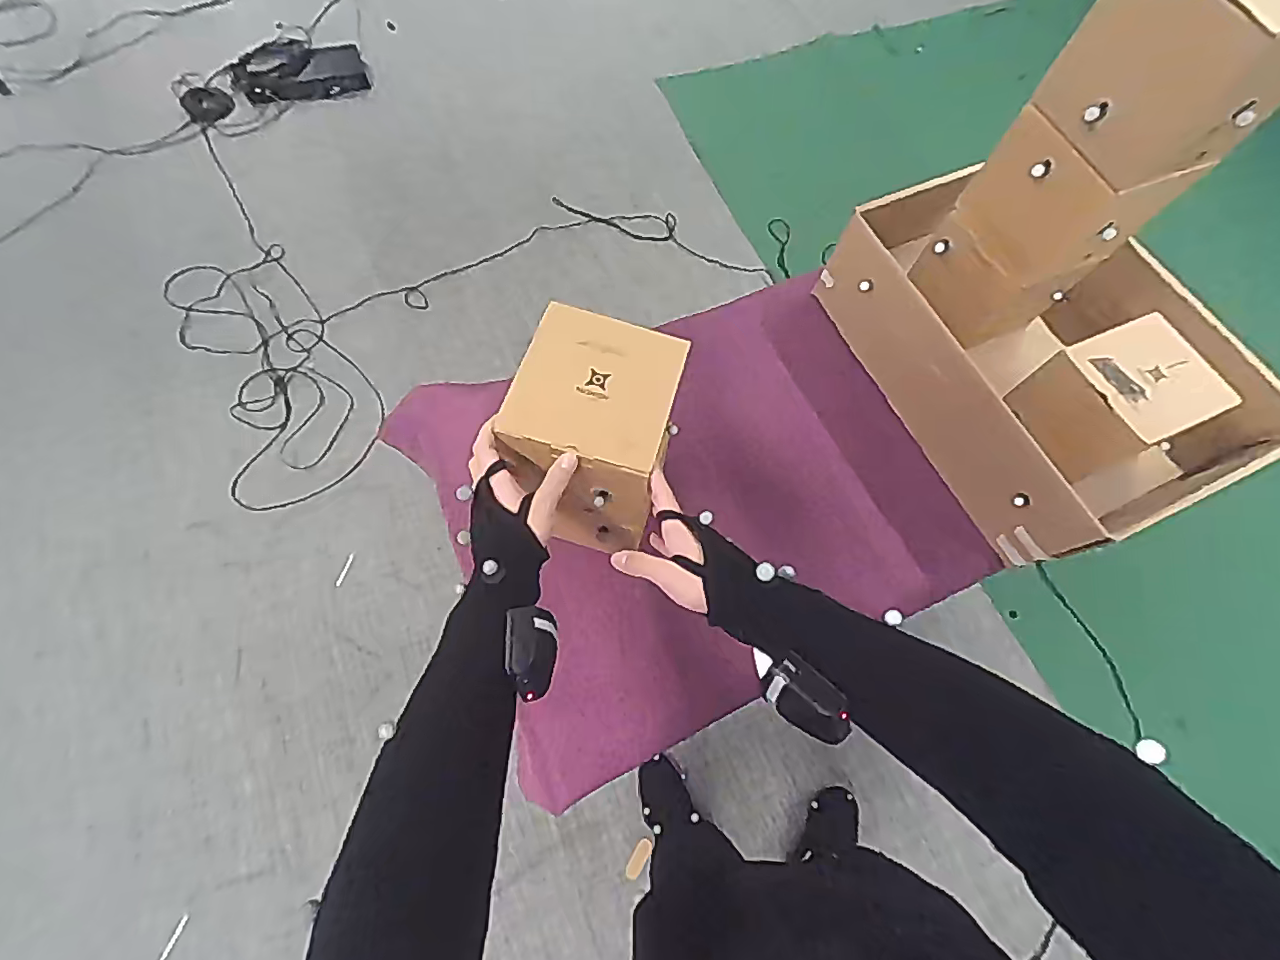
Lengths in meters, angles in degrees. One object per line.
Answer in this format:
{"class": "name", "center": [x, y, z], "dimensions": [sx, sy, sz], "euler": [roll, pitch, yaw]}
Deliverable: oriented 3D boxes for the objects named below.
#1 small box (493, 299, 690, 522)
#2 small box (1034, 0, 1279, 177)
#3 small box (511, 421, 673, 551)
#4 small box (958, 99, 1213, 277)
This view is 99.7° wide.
{"class": "small box", "center": [-0.052, -0.070, 0.634], "dimensions": [0.168, 0.176, 0.179], "euler": [17, 65, 1]}
{"class": "small box", "center": [0.605, -0.470, 0.601], "dimensions": [0.168, 0.176, 0.179], "euler": [-20, 72, -10]}
{"class": "small box", "center": [-0.065, -0.007, 0.792], "dimensions": [0.179, 0.176, 0.168], "euler": [17, 68, 4]}
{"class": "small box", "center": [0.599, -0.410, 0.754], "dimensions": [0.168, 0.176, 0.179], "euler": [-21, 71, -10]}
